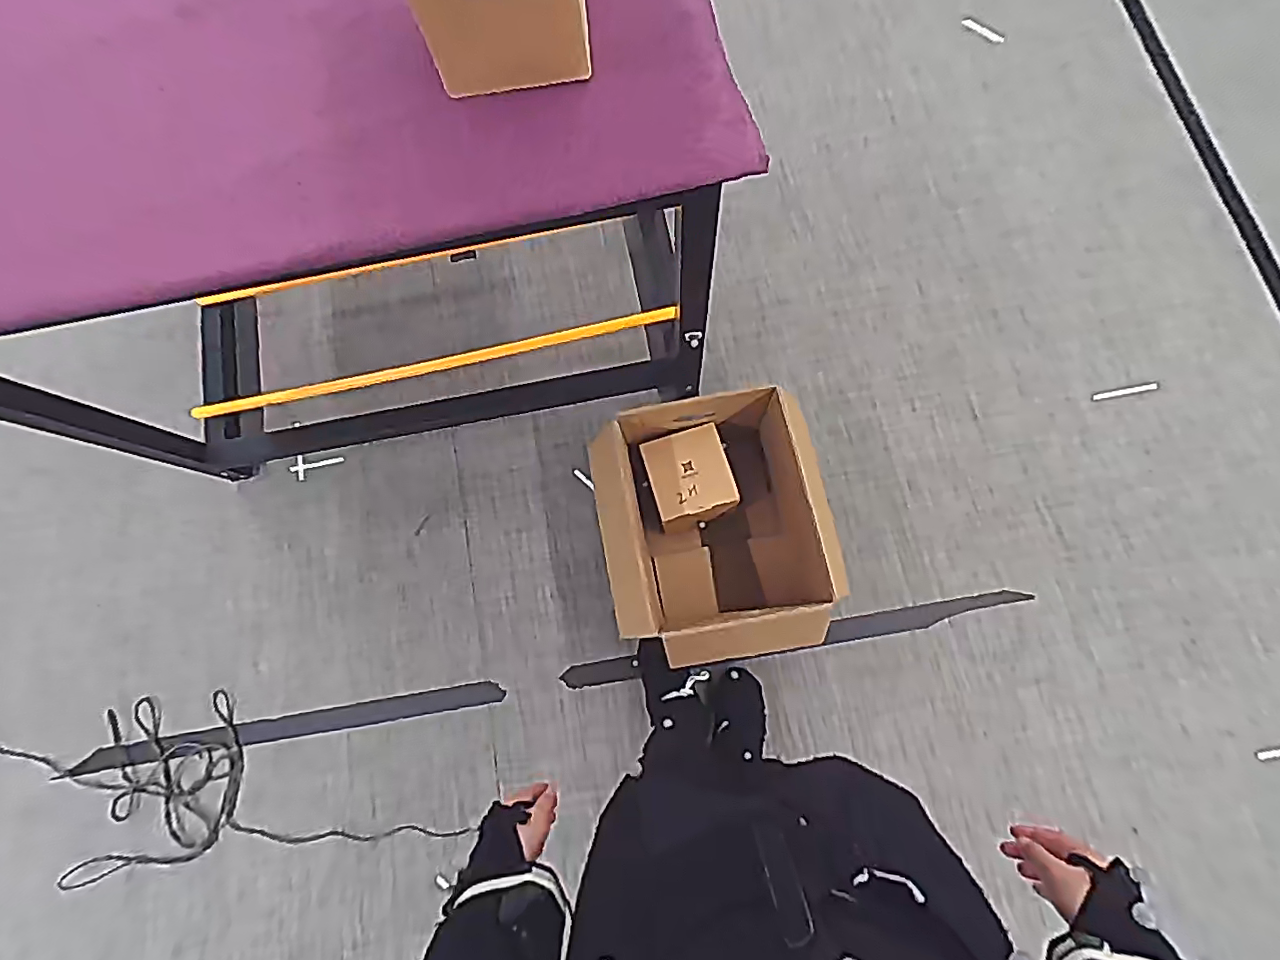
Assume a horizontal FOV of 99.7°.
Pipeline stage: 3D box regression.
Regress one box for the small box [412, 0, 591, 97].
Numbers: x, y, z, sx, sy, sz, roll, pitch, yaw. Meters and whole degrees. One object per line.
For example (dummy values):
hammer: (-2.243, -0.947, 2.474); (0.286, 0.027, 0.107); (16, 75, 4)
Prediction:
small box: (-0.151, -0.566, 0.594); (0.179, 0.176, 0.168); (-6, 76, 3)
